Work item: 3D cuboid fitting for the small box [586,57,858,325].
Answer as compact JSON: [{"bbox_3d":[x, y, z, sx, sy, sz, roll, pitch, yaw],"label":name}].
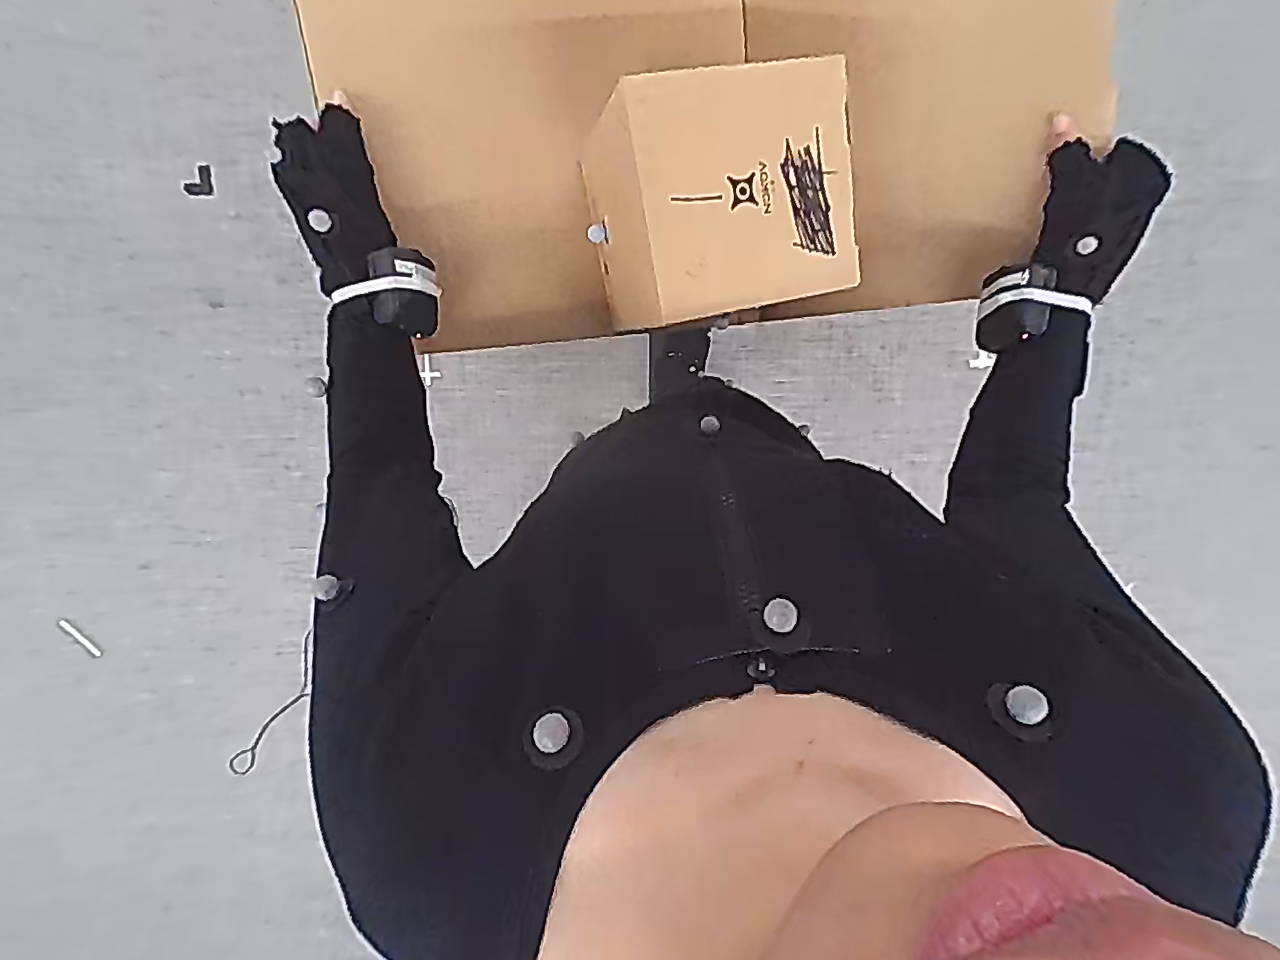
[{"bbox_3d":[0.064,-0.237,0.481,0.179,0.176,0.168,-15,106,-12],"label":"small box"}]
